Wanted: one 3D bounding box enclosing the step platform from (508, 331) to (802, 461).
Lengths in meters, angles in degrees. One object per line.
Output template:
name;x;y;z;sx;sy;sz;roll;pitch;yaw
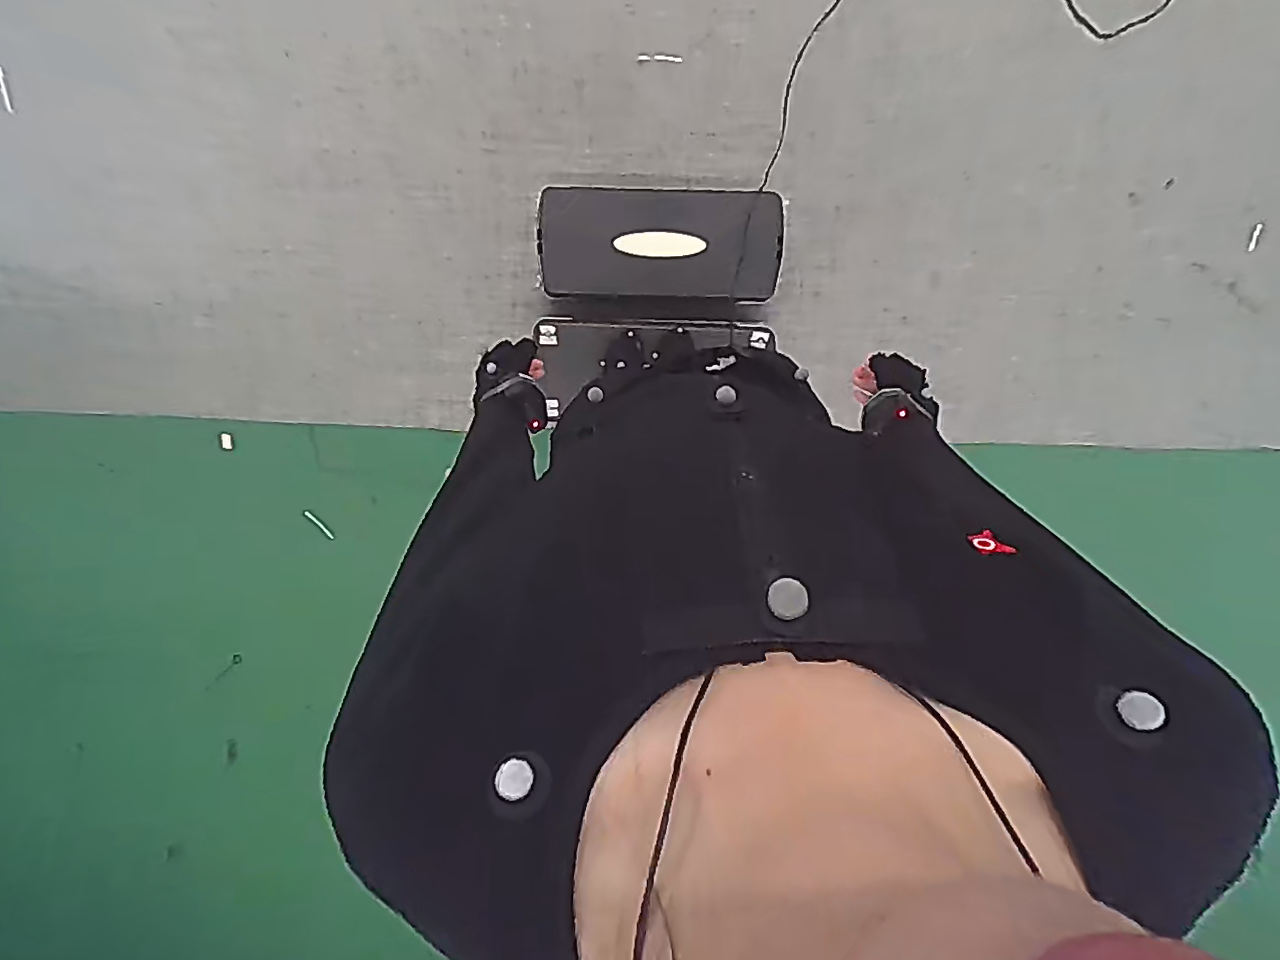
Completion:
step platform;0.033;-0.213;1.343;0.684;0.204;0.286;1;105;-1
